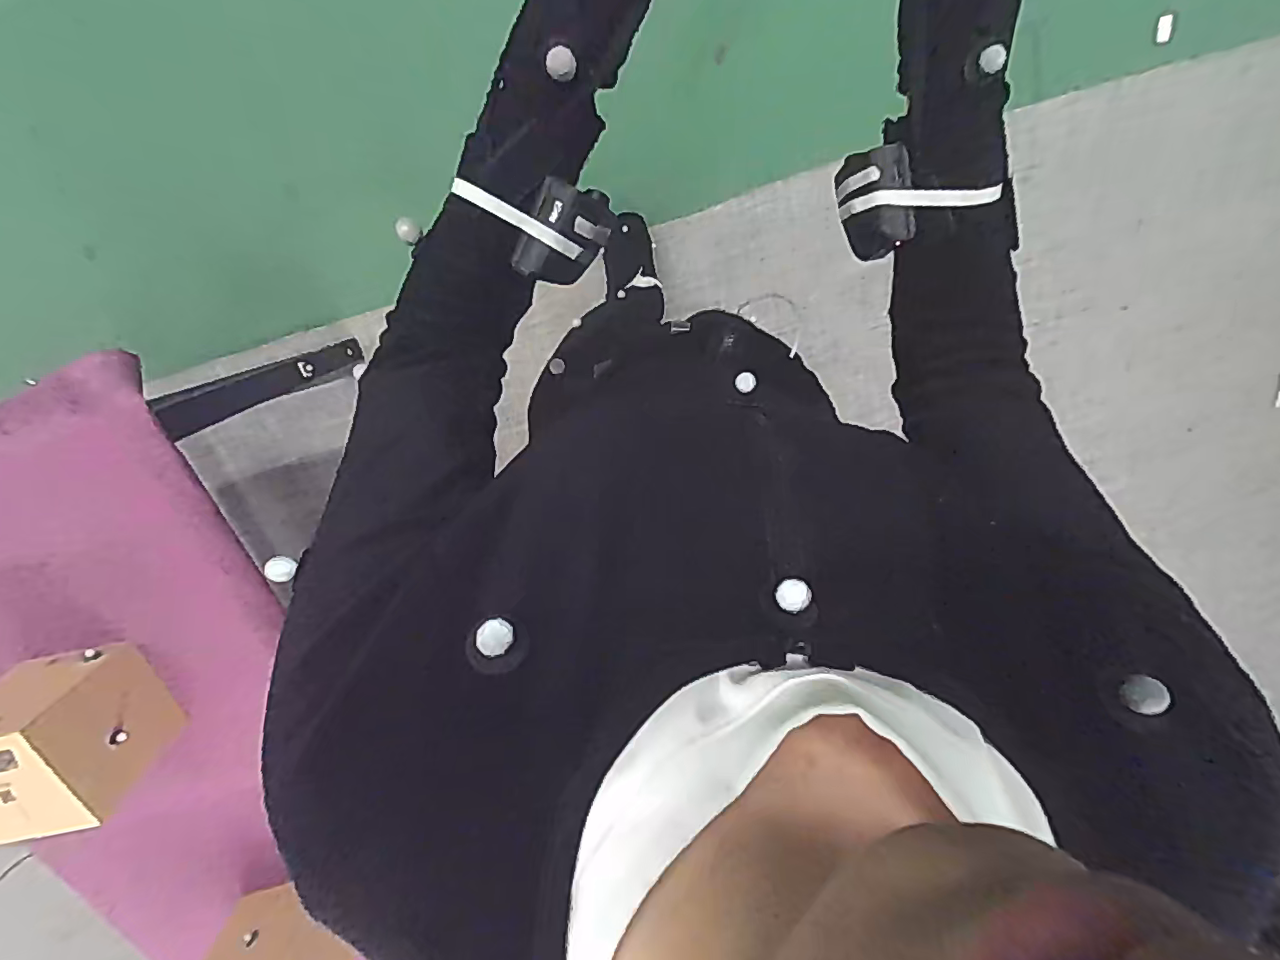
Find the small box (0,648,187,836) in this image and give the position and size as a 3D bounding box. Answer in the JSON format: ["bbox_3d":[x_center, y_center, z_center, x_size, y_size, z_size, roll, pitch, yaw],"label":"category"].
[{"bbox_3d":[-0.803,0.353,0.755,0.168,0.176,0.179,-7,113,3],"label":"small box"}]
